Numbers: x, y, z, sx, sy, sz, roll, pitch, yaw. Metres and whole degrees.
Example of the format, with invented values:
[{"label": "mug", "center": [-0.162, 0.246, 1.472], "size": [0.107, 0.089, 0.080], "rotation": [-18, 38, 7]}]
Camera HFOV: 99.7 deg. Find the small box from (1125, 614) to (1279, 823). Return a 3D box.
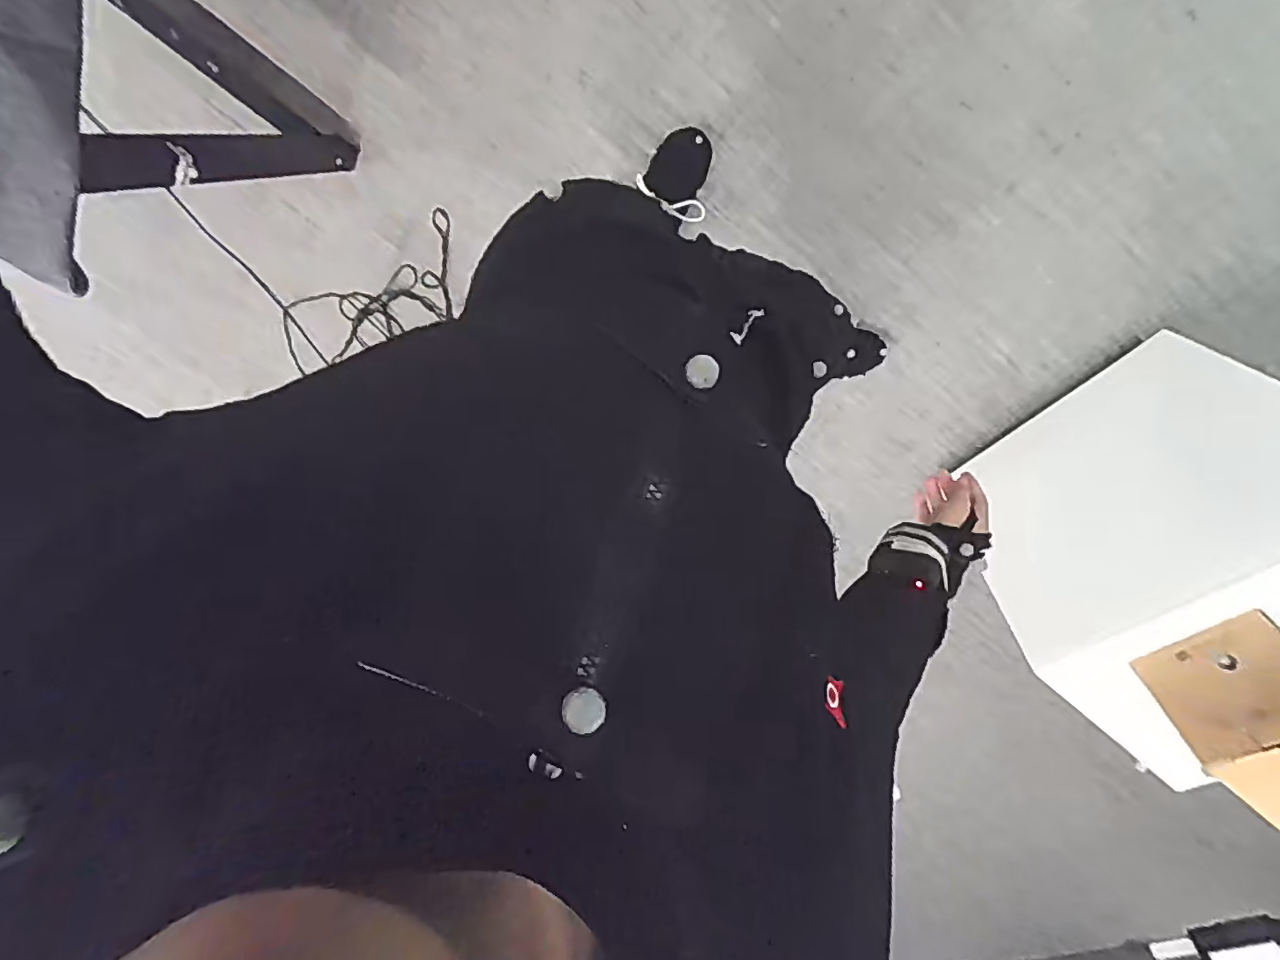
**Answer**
[{"label": "small box", "center": [0.823, 0.313, 0.722], "size": [0.179, 0.176, 0.168], "rotation": [36, 122, -12]}]
